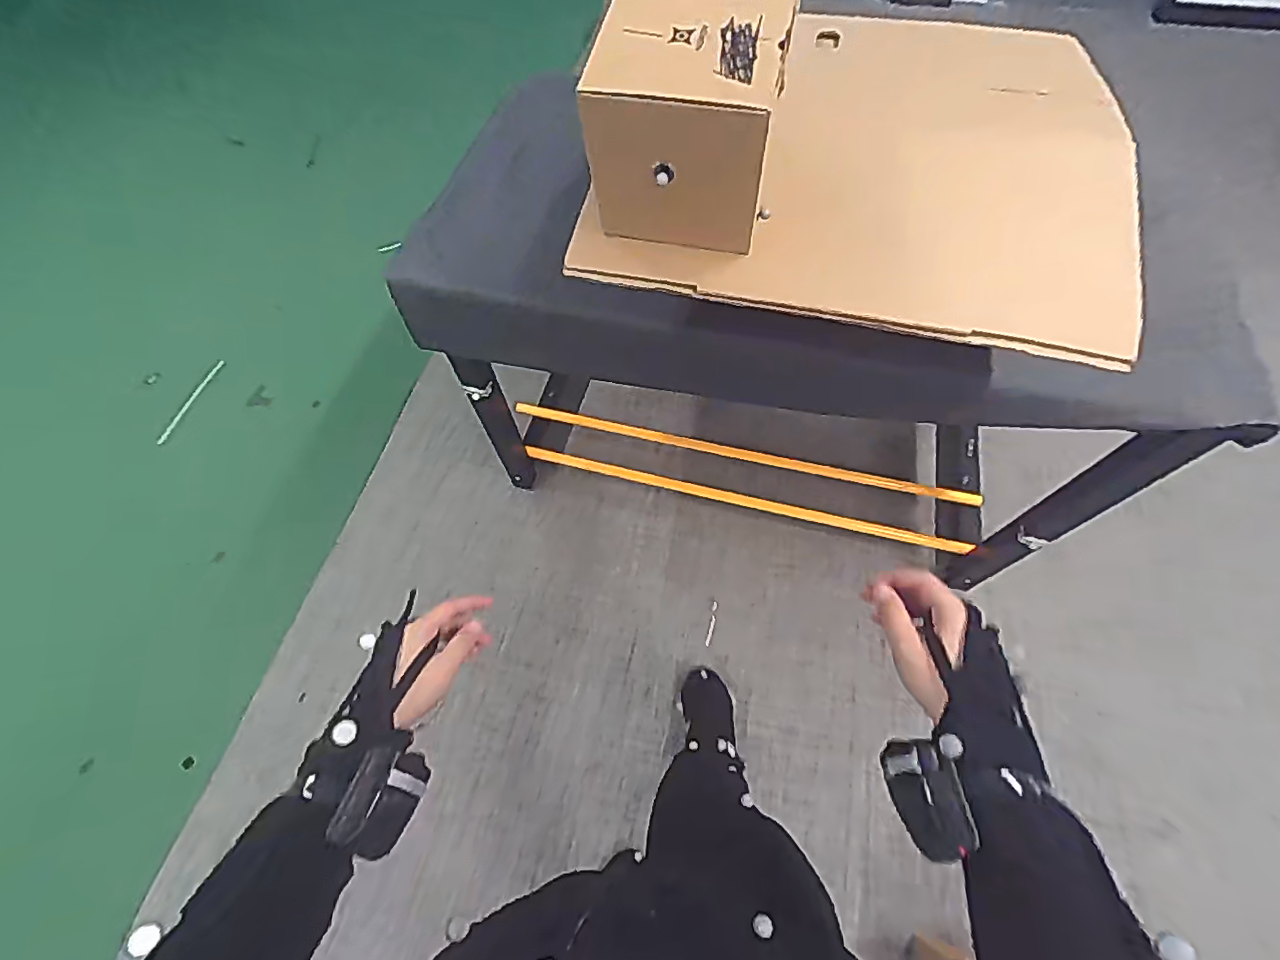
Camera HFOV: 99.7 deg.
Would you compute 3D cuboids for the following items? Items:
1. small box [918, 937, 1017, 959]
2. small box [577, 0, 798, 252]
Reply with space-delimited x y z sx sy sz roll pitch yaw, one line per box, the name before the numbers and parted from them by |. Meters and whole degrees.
small box | 0.581 0.895 0.894 0.168 0.176 0.179 7 62 6
small box | 0.052 -0.370 0.573 0.179 0.176 0.168 12 71 10
